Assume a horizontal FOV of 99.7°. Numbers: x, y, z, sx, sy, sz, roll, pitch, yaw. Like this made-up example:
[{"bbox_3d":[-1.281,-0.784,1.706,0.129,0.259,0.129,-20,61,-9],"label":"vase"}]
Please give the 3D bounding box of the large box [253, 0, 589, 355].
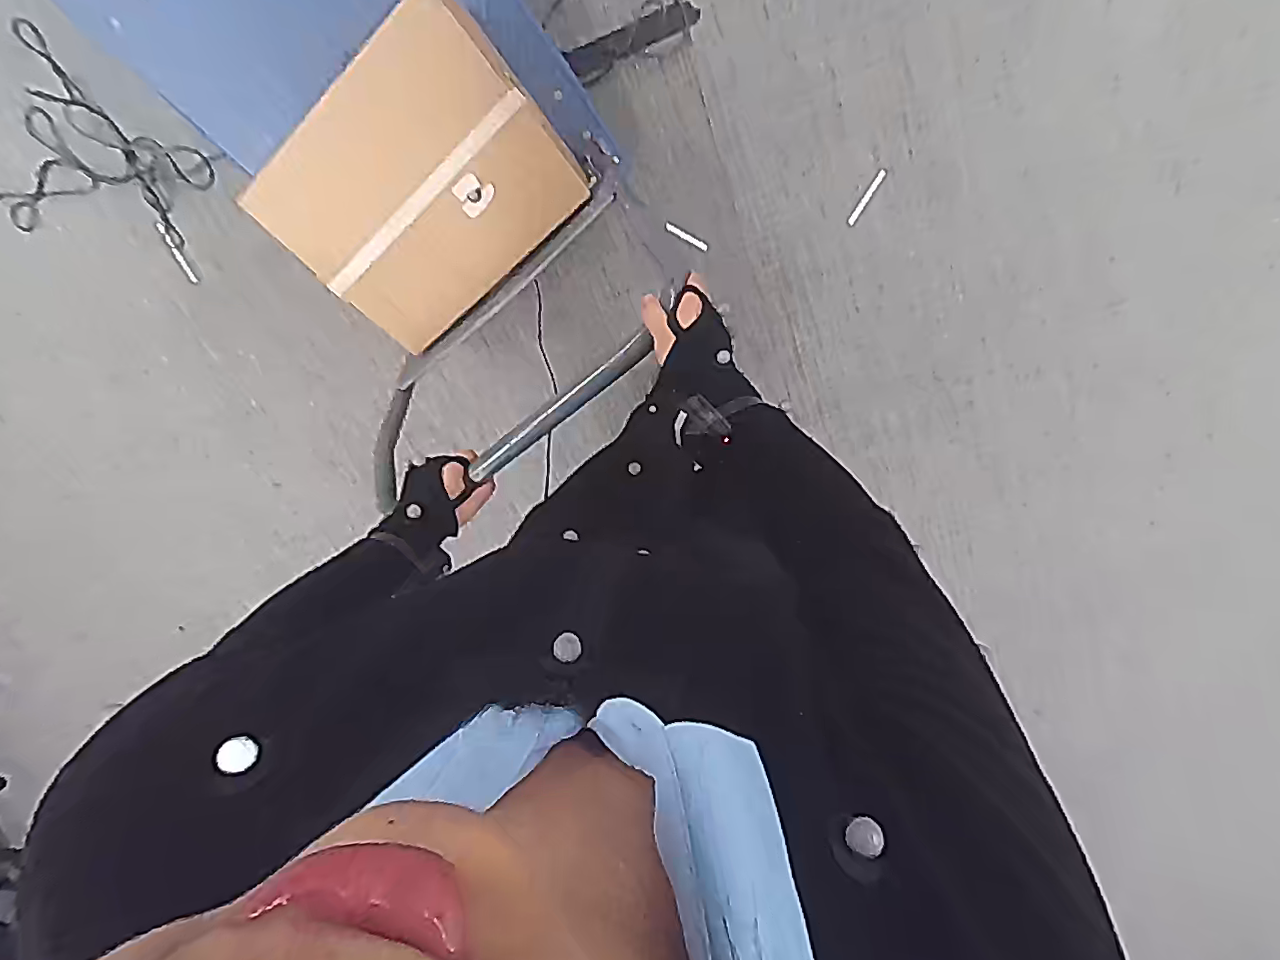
[{"bbox_3d":[-0.340,-0.499,0.927,0.408,0.320,0.320,-36,123,16],"label":"large box"}]
